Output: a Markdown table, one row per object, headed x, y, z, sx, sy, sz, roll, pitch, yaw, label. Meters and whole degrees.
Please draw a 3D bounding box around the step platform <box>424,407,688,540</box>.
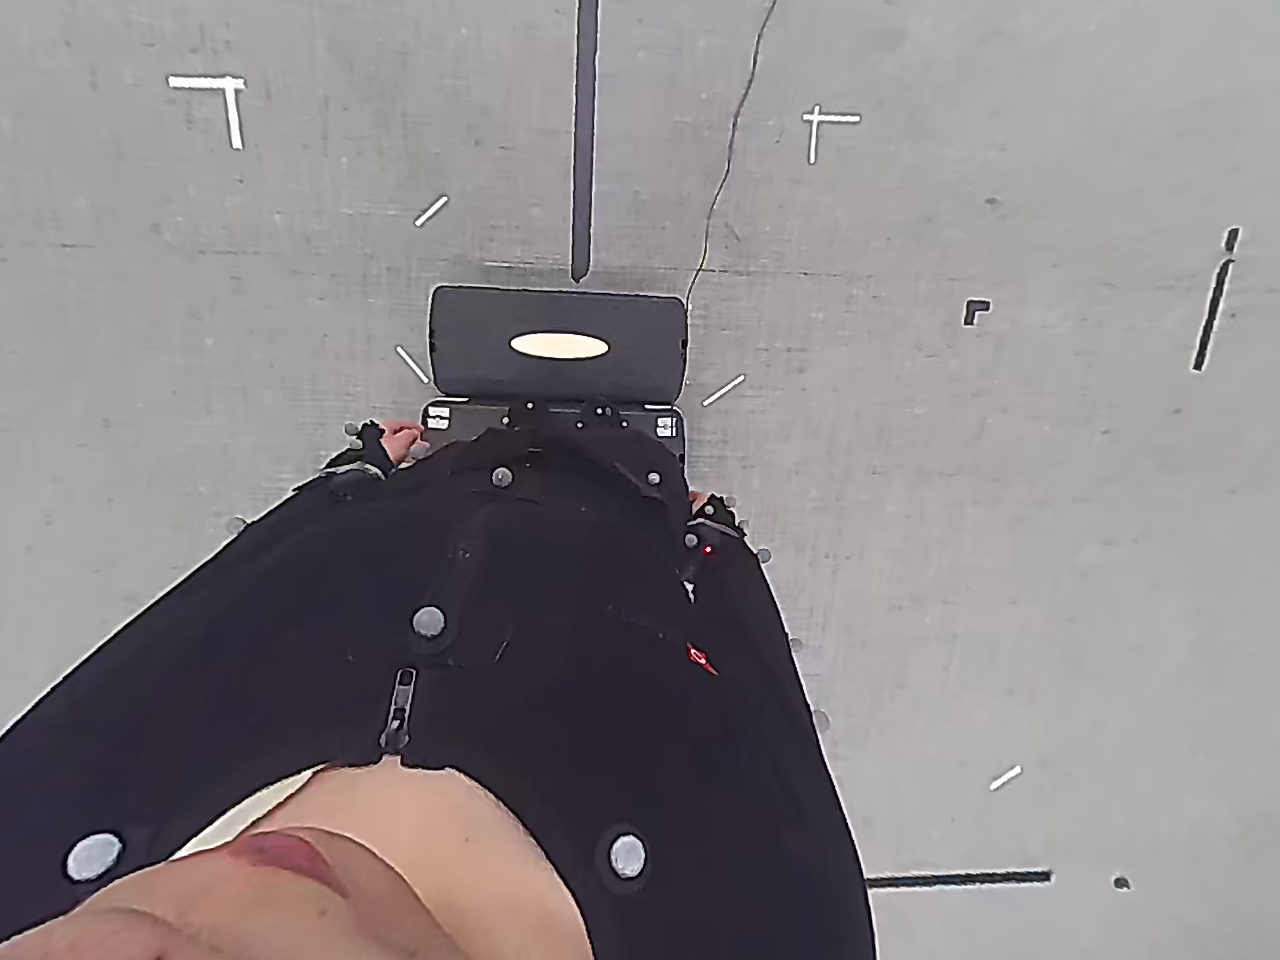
| x | y | z | sx | sy | sz | roll | pitch | yaw | label |
| --- | --- | --- | --- | --- | --- | --- | --- | --- | --- |
| -0.214 | -0.018 | 1.451 | 0.684 | 0.204 | 0.286 | 6 | 99 | -3 | step platform |
